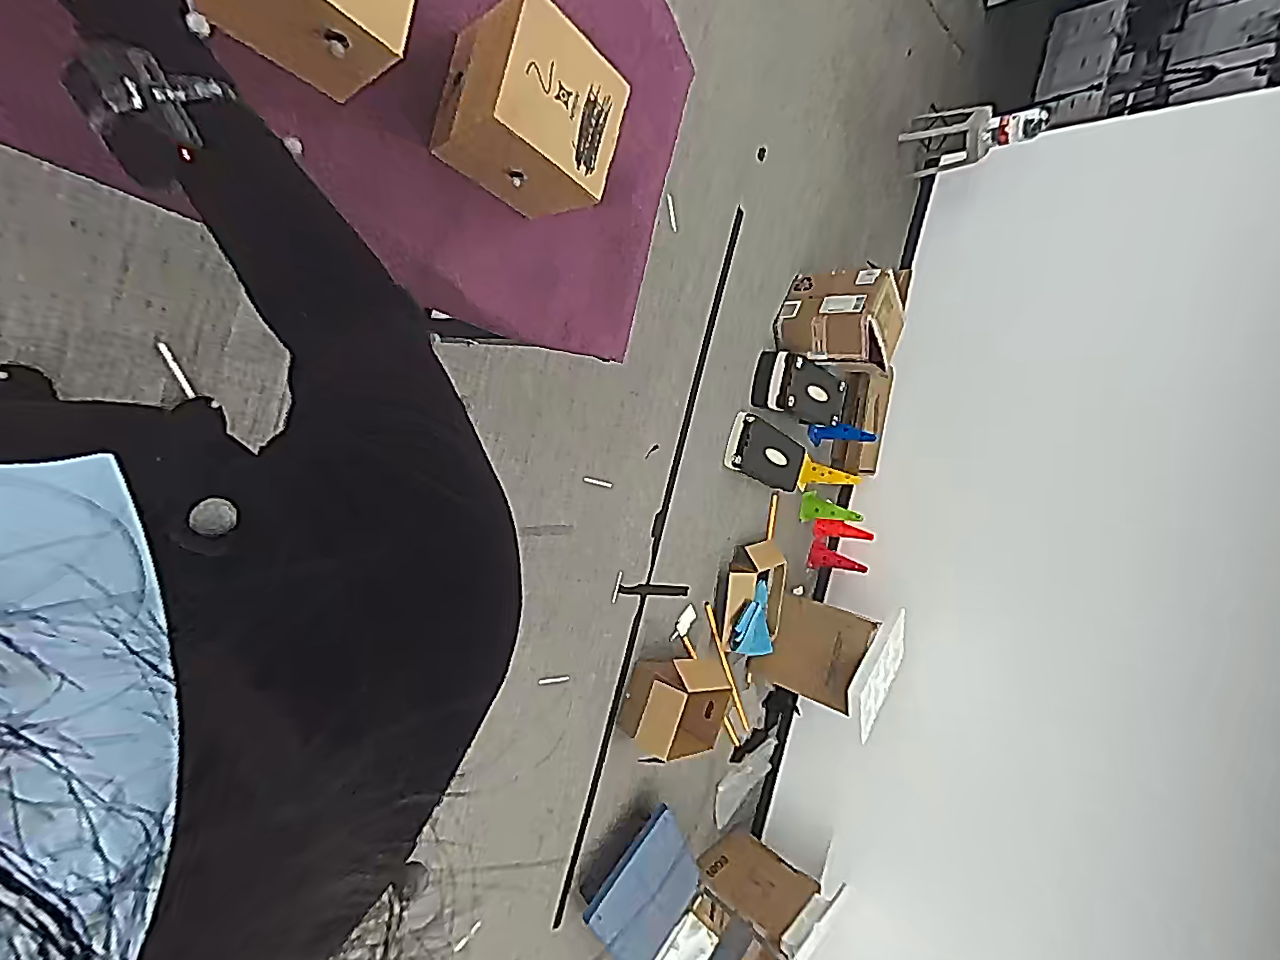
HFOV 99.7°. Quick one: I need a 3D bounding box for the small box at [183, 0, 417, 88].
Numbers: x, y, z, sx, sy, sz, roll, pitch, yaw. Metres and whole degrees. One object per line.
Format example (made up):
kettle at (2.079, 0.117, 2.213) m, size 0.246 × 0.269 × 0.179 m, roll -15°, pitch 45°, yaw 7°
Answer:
small box at (-0.330, -0.523, 0.522) m, size 0.179 × 0.176 × 0.168 m, roll 12°, pitch 92°, yaw -49°
